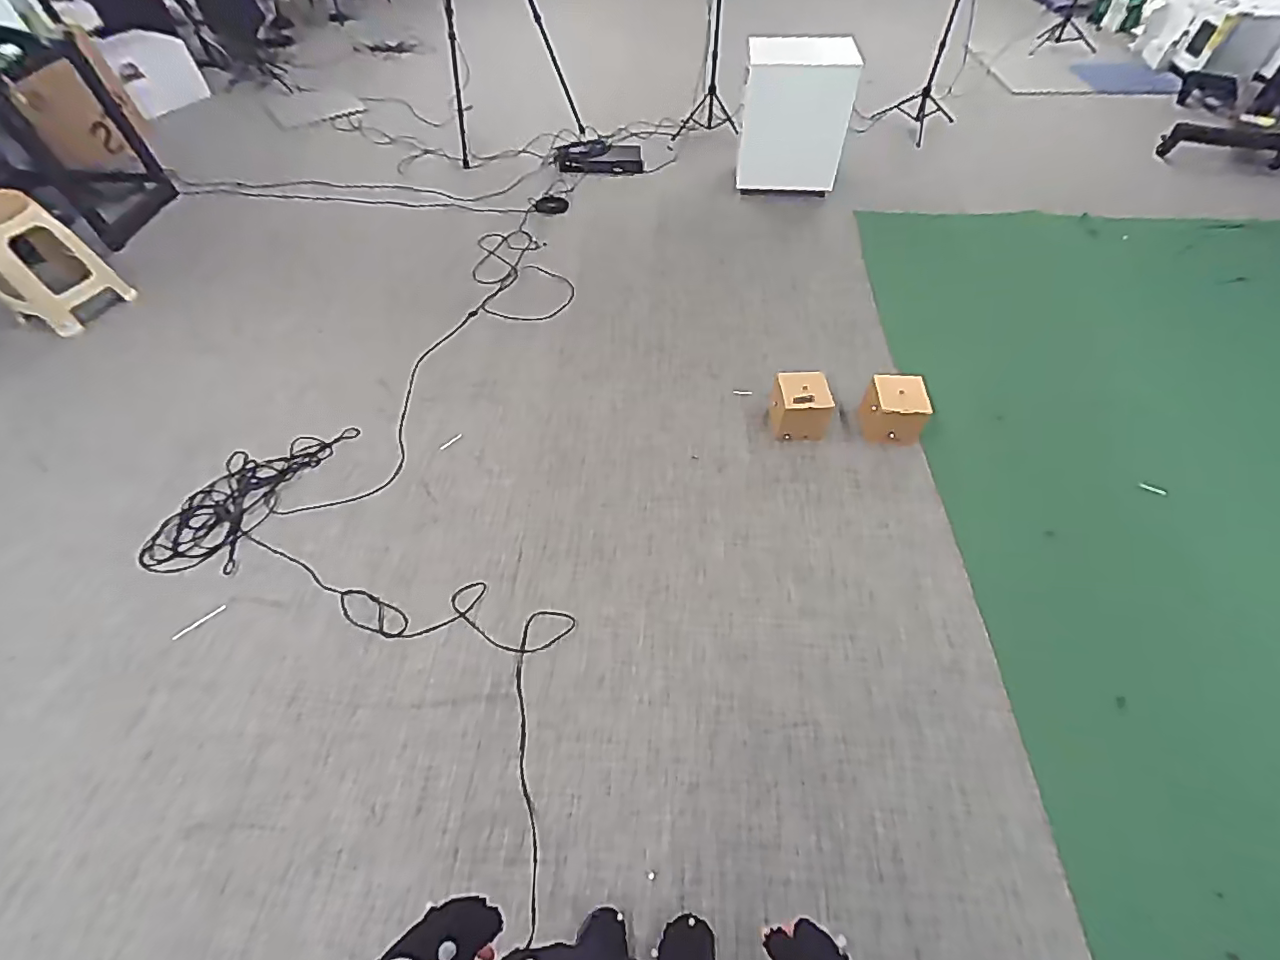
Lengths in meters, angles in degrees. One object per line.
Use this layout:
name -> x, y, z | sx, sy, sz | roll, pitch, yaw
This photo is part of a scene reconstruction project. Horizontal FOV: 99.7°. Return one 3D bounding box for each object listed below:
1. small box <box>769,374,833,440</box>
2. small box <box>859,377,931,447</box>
small box -> 0.563, -0.254, 1.909 | 0.168, 0.176, 0.179 | -1, 53, 0
small box -> 0.886, -0.238, 1.897 | 0.168, 0.176, 0.179 | 3, 54, 4
